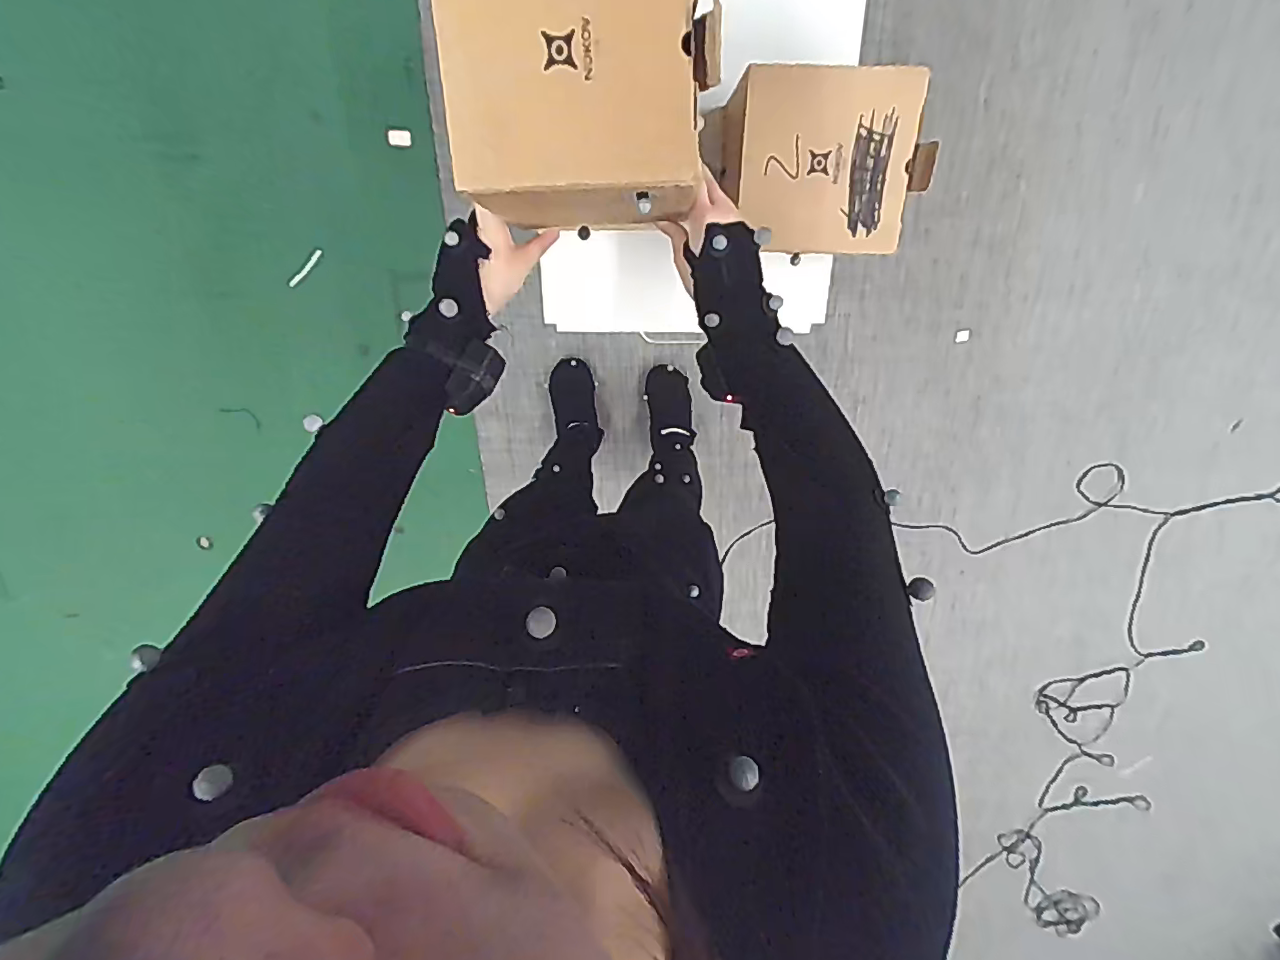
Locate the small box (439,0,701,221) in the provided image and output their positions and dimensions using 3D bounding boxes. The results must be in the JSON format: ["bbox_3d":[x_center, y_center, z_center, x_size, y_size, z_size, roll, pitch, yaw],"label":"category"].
[{"bbox_3d":[-0.044,-0.316,0.441,0.179,0.176,0.168,-2,106,1],"label":"small box"}]
